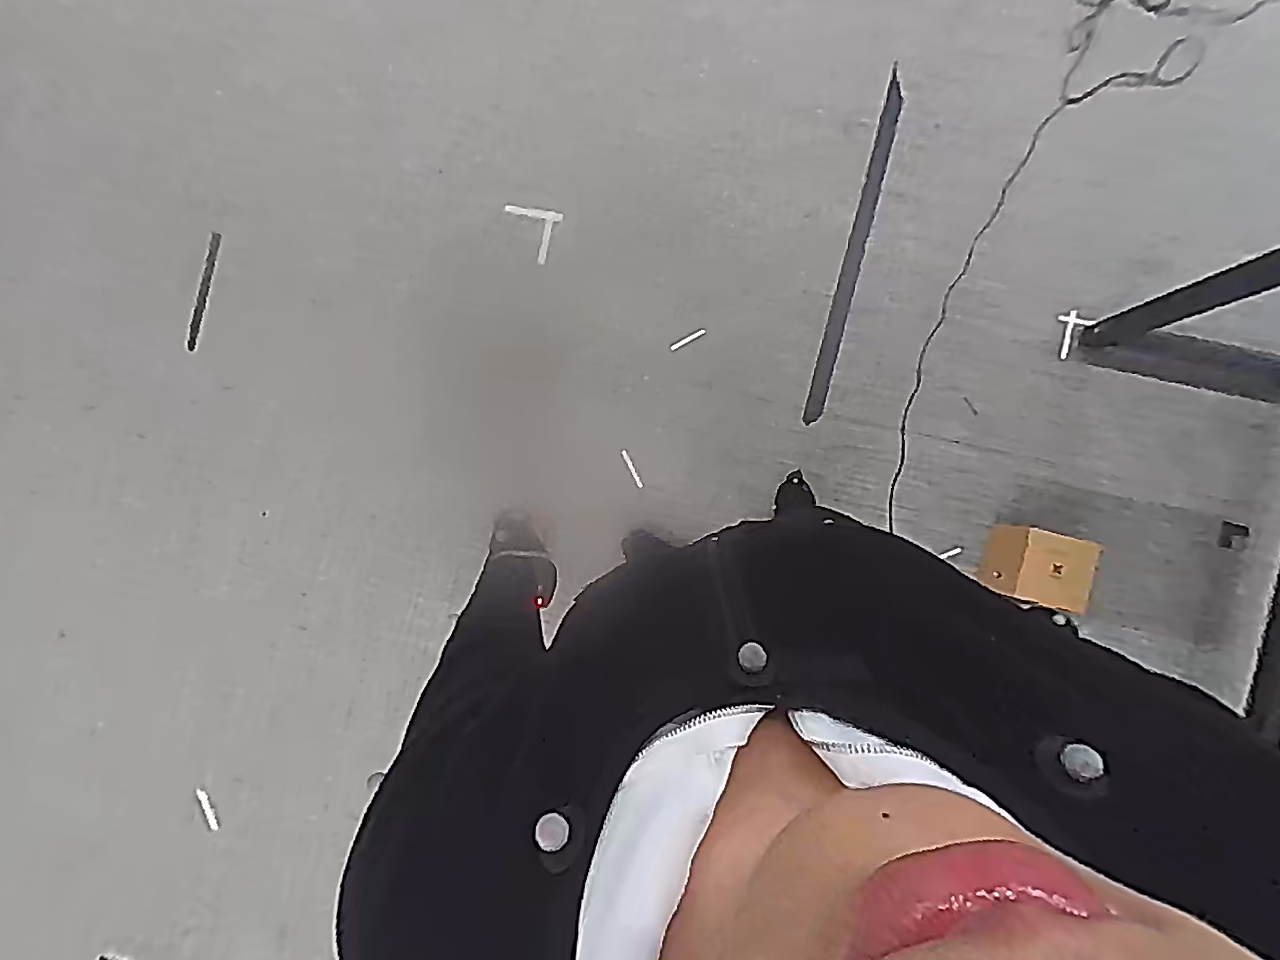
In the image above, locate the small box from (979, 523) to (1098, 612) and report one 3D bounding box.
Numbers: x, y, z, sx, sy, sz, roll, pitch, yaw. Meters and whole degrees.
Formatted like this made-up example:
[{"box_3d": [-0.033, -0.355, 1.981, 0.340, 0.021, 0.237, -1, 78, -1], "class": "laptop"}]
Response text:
[{"box_3d": [0.993, 0.213, 1.364, 0.168, 0.176, 0.179, 14, 88, 4], "class": "small box"}]
